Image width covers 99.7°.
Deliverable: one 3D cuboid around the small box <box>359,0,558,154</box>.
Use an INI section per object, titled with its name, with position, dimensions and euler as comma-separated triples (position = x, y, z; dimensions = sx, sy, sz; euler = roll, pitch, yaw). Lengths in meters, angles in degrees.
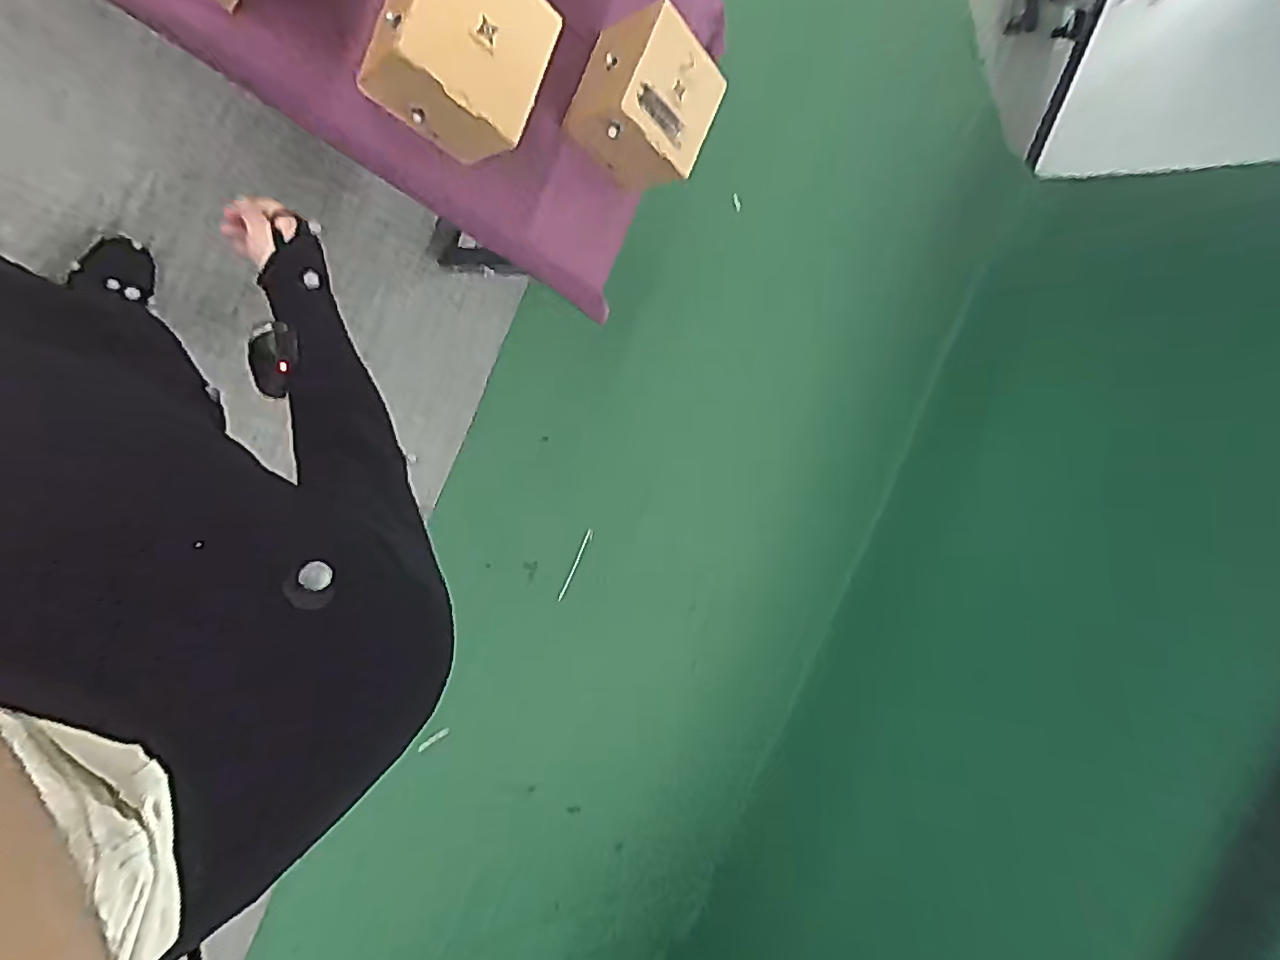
[small box]
position = -0.244, -0.570, 0.715
dimensions = 0.168, 0.176, 0.179
euler = 19, 94, -45
